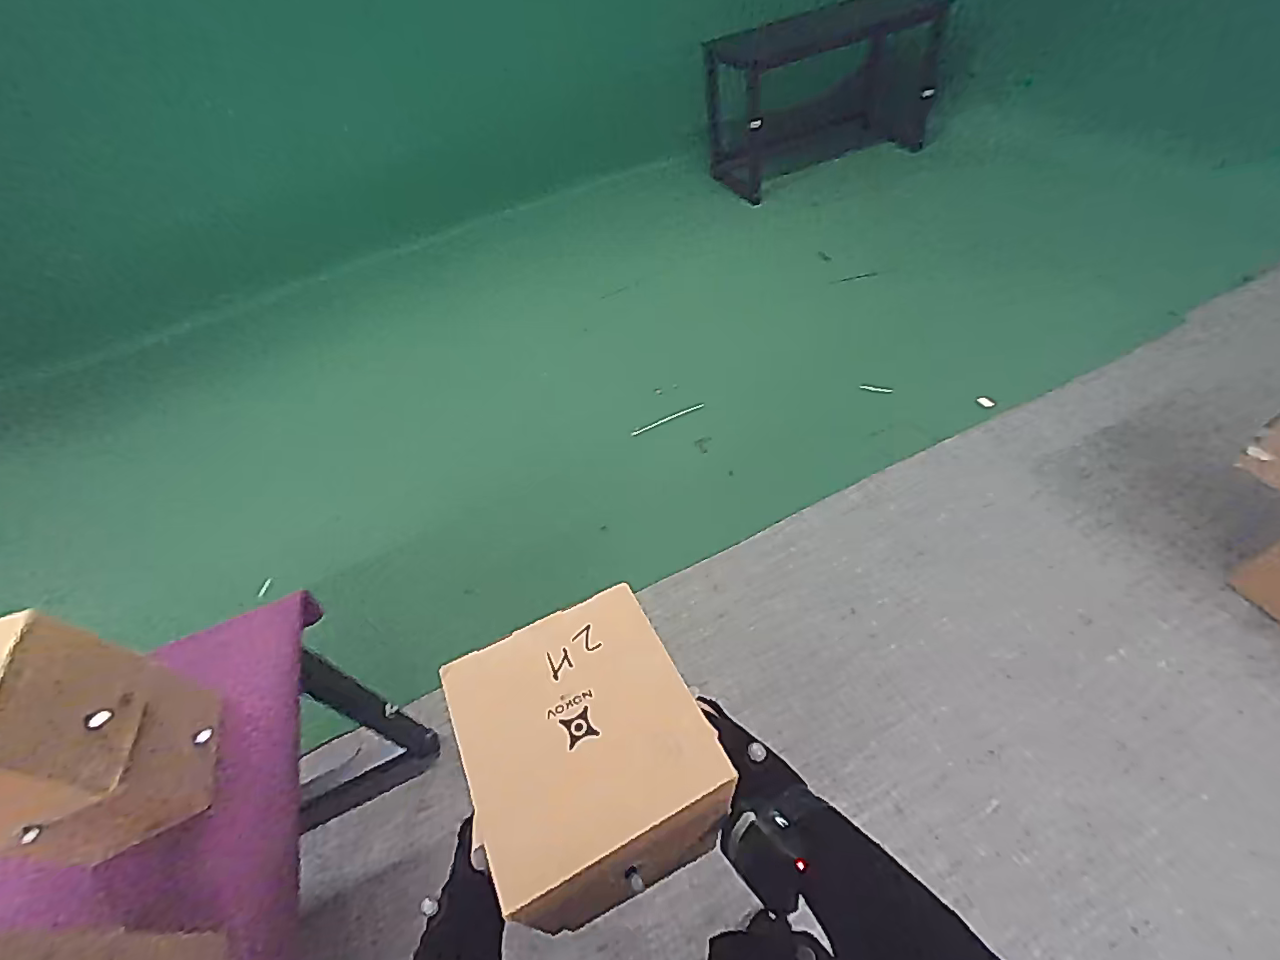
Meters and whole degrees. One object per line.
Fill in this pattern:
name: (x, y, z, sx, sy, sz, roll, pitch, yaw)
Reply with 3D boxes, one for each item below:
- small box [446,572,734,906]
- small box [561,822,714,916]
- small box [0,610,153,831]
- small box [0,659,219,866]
small box: (-0.039, 0.216, 0.448, 0.168, 0.176, 0.179, -21, 48, -15)
small box: (-0.030, 0.323, 0.573, 0.179, 0.176, 0.168, -19, 48, -14)
small box: (-0.725, 0.280, 0.609, 0.179, 0.176, 0.168, -18, 48, -4)
small box: (-0.720, 0.385, 0.736, 0.168, 0.176, 0.179, -25, 48, -8)
